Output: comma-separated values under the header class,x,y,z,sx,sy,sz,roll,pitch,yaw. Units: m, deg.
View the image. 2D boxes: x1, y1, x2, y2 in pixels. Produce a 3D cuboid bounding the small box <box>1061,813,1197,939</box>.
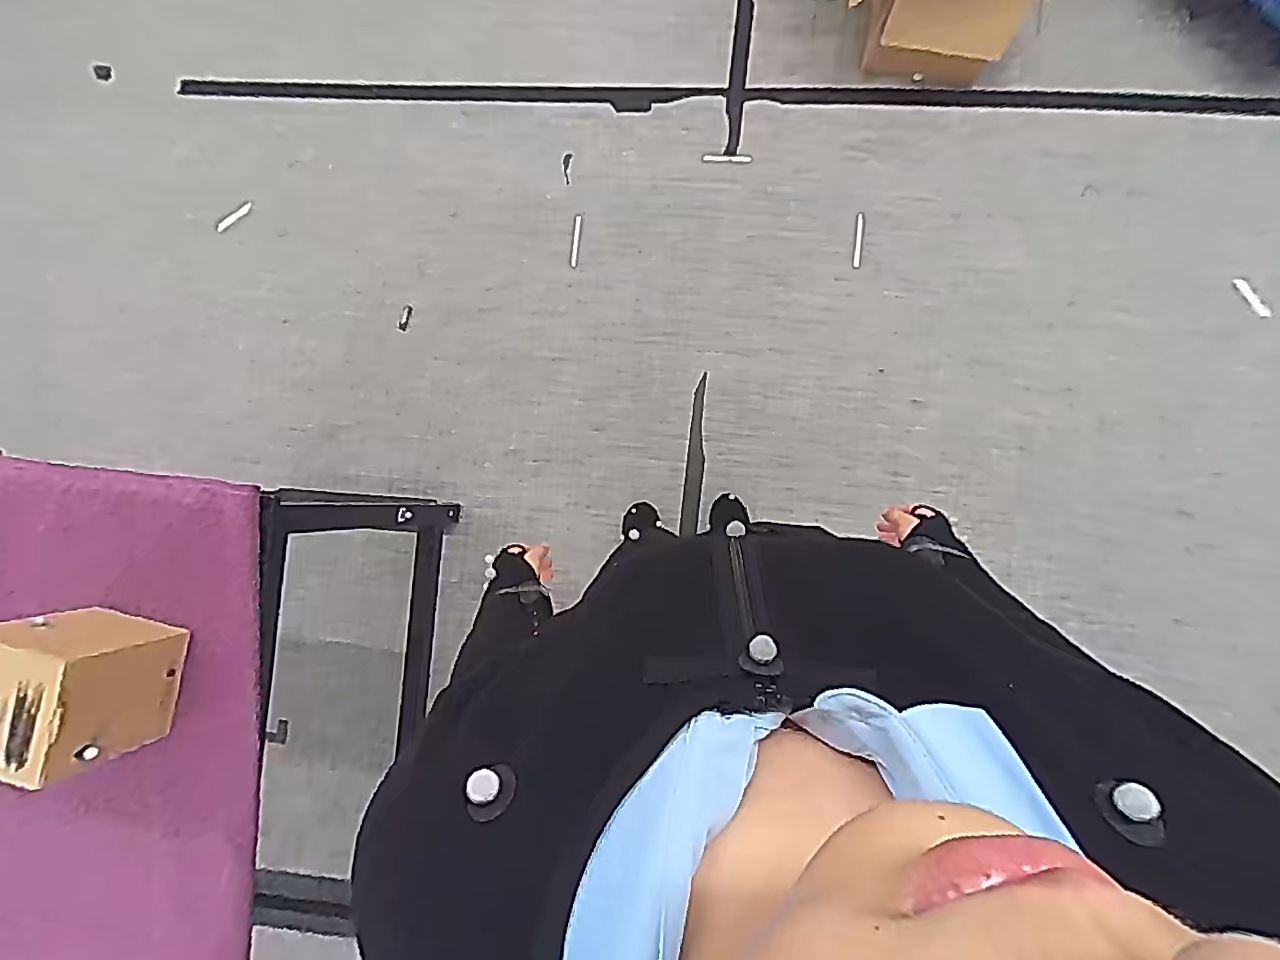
class,x,y,z,sx,sy,sz,roll,pitch,yaw
small box,1.121,0.904,1.253,0.179,0.176,0.168,3,89,5
